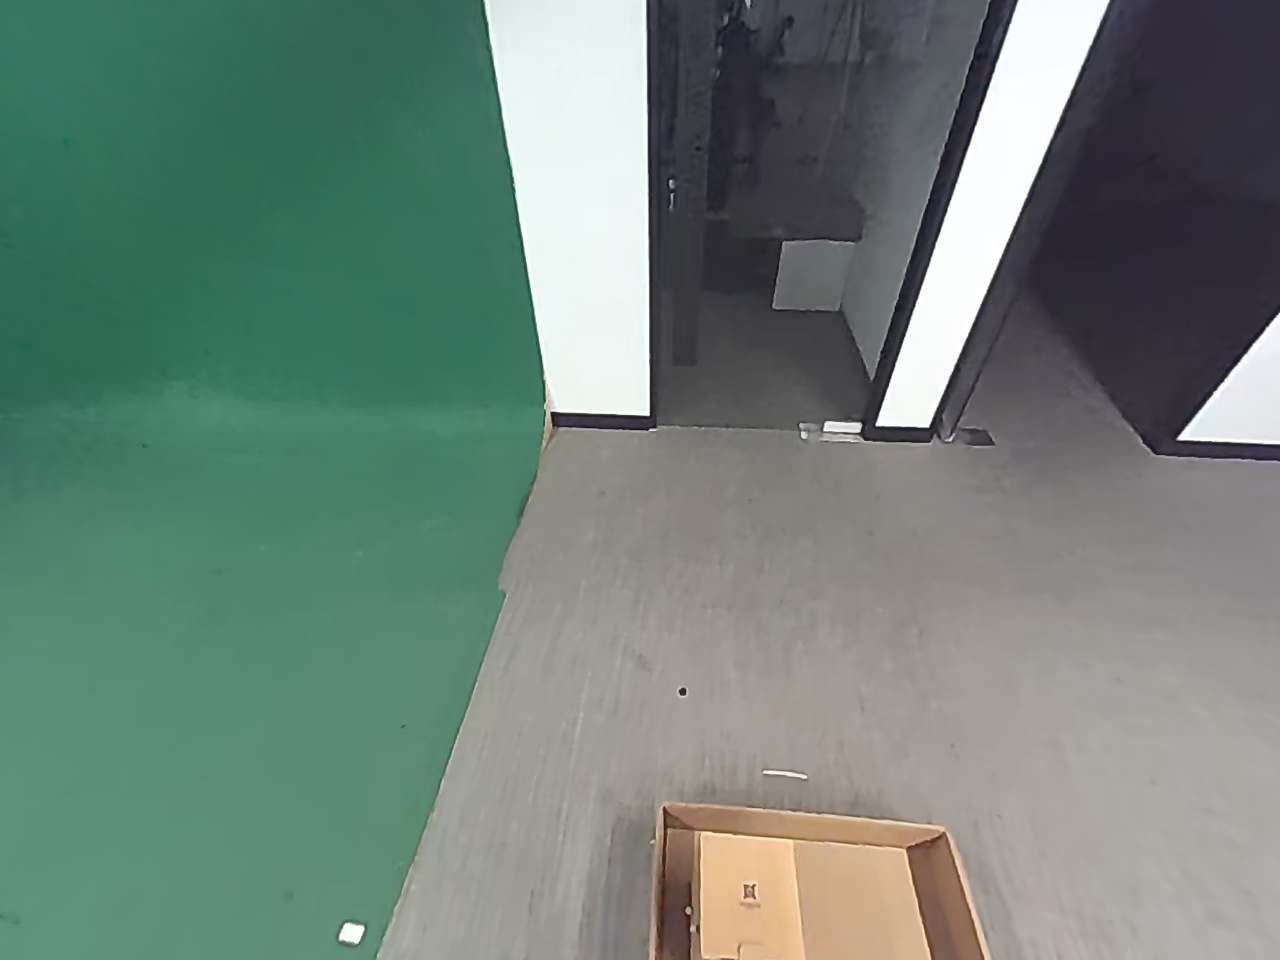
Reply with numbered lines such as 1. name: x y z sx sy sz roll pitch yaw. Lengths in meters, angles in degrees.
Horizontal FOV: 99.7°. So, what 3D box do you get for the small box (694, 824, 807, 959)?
1. small box: 0.184 0.740 0.954 0.168 0.176 0.179 3 42 4
